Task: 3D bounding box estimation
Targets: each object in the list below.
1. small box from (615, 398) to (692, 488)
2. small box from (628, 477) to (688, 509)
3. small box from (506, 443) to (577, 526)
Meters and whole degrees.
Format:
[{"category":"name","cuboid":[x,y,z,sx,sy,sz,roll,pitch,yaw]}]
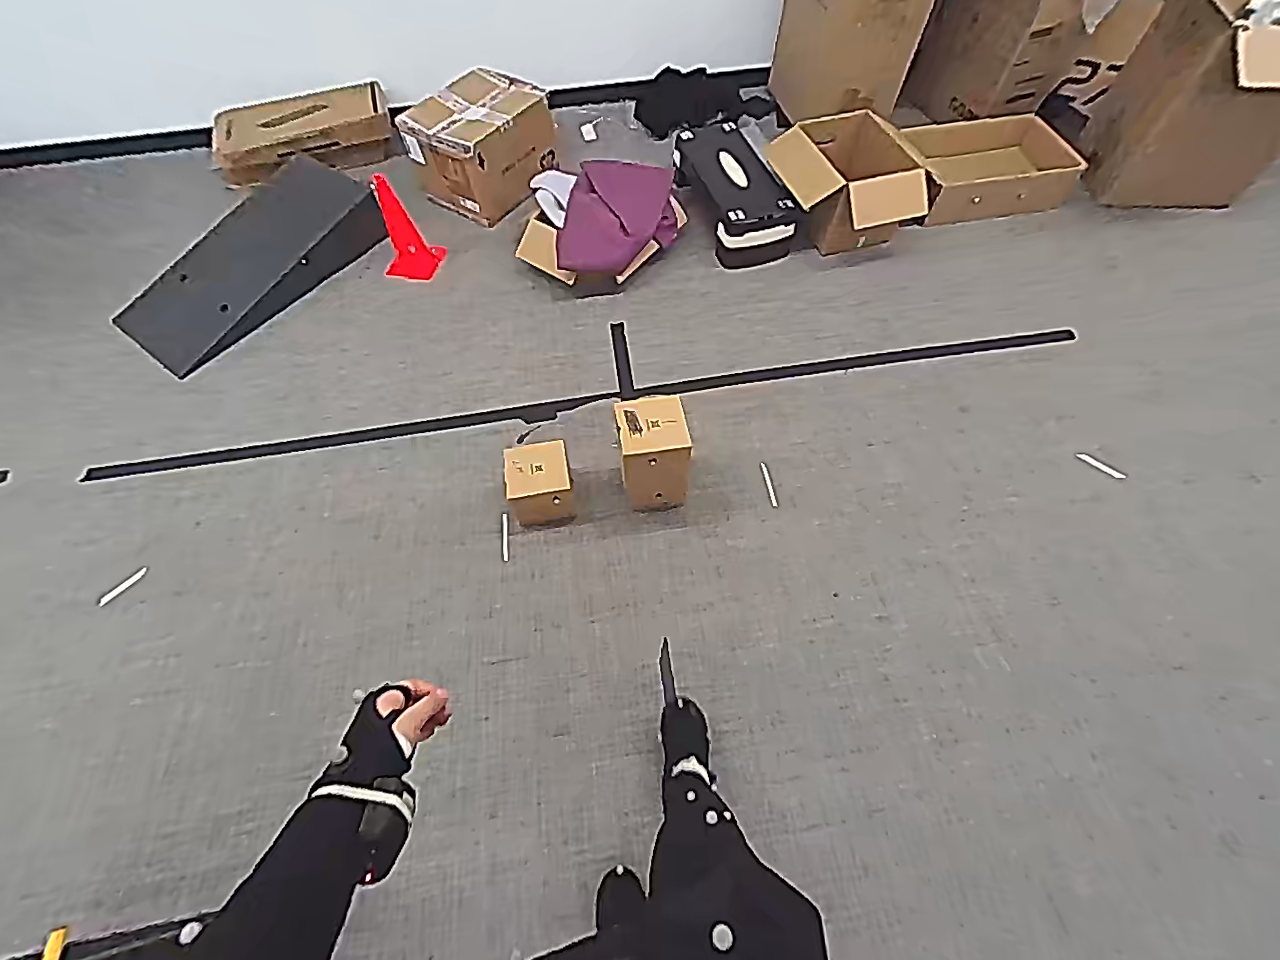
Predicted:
[{"category":"small box","cuboid":[0.034,-0.092,1.429,0.179,0.176,0.168,-8,61,-4]},{"category":"small box","cuboid":[0.045,-0.025,1.581,0.168,0.176,0.179,-7,61,-2]},{"category":"small box","cuboid":[-0.280,0.018,1.564,0.179,0.176,0.168,-10,60,-3]}]
